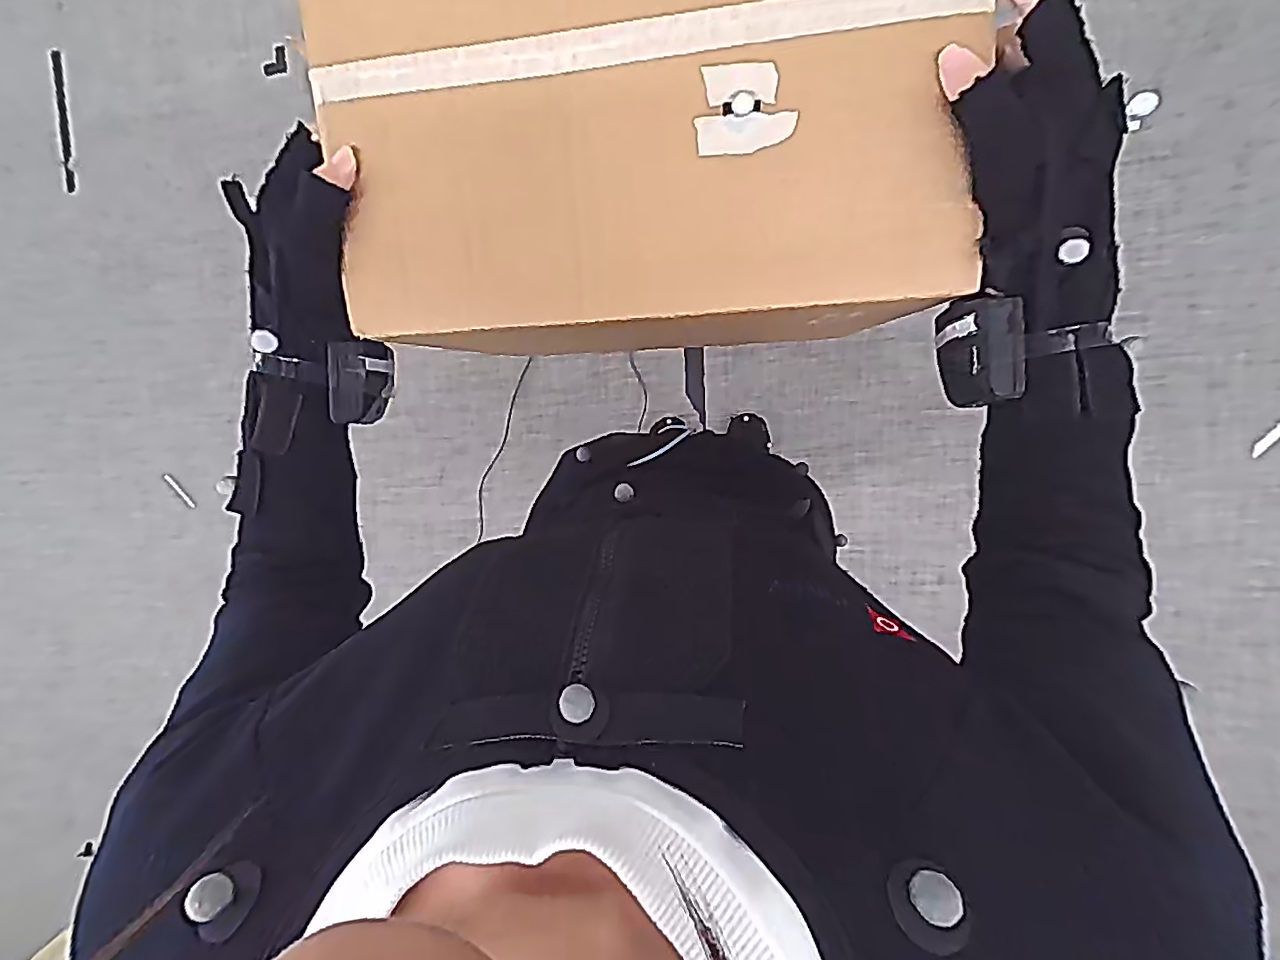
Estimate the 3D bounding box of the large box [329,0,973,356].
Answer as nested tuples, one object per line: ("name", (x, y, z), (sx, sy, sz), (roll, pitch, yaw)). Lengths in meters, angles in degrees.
("large box", (0.012, -0.291, 0.482), (0.408, 0.320, 0.320), (-2, 101, 7))
